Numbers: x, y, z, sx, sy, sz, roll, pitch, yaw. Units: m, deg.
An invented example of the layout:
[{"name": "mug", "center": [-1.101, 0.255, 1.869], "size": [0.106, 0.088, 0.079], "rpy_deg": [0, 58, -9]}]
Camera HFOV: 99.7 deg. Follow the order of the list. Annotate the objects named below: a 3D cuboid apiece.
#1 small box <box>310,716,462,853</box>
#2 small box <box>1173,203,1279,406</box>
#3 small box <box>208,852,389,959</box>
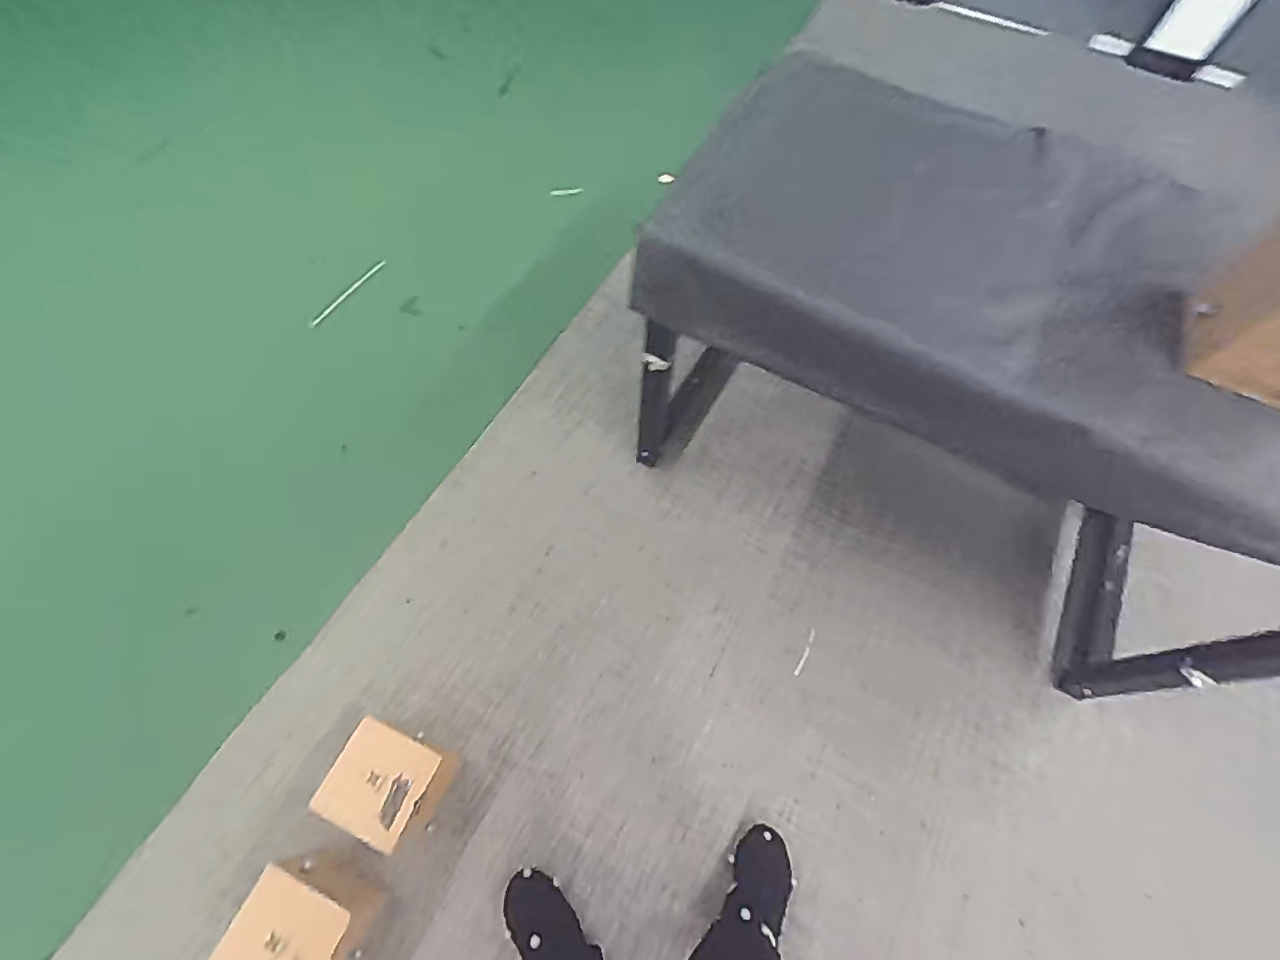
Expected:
[{"name": "small box", "center": [-0.471, 0.574, 1.037], "size": [0.179, 0.176, 0.168], "rpy_deg": [23, 64, 10]}, {"name": "small box", "center": [0.832, -0.219, 0.680], "size": [0.168, 0.176, 0.179], "rpy_deg": [25, 65, 10]}, {"name": "small box", "center": [-0.576, 0.773, 0.931], "size": [0.179, 0.176, 0.168], "rpy_deg": [23, 65, 9]}]
